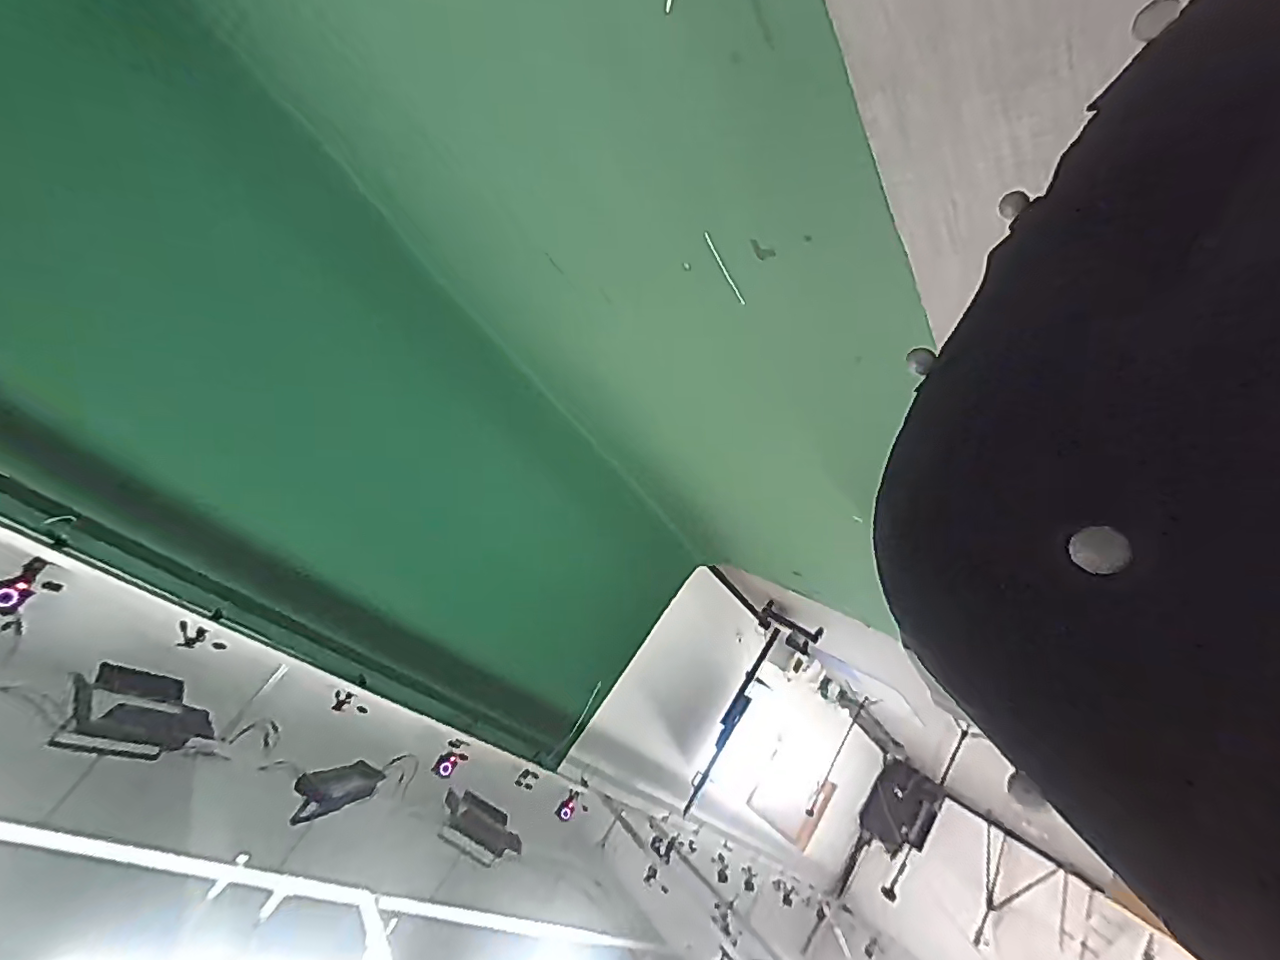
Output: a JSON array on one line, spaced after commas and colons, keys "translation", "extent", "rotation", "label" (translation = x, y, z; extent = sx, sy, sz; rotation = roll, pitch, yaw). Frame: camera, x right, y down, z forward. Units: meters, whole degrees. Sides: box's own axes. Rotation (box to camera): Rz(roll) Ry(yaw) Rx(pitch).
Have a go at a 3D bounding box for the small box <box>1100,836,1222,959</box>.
[{"translation": [1.257, 0.998, 1.309], "extent": [0.179, 0.176, 0.168], "rotation": [15, 155, 51], "label": "small box"}]
